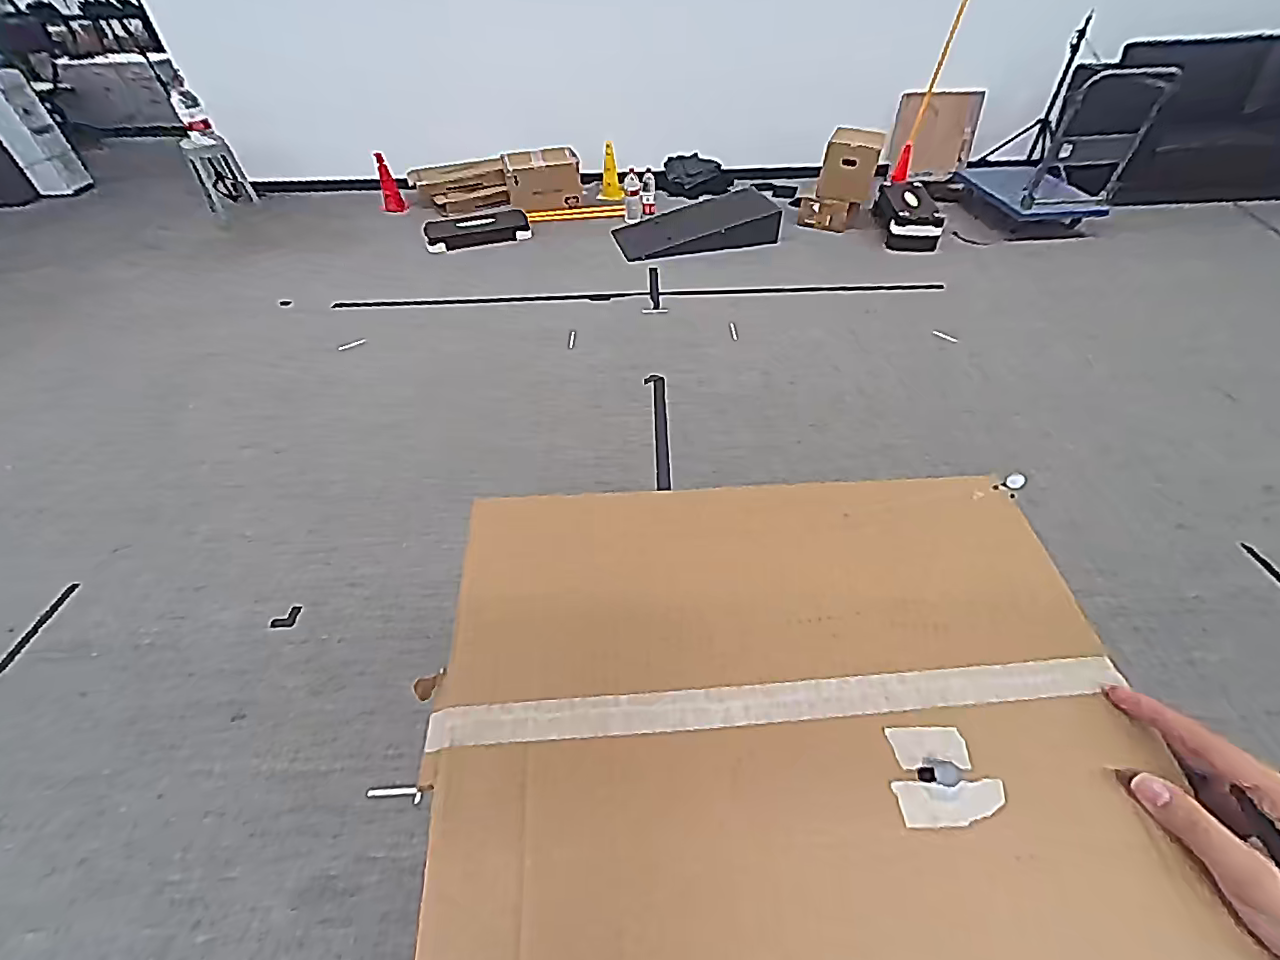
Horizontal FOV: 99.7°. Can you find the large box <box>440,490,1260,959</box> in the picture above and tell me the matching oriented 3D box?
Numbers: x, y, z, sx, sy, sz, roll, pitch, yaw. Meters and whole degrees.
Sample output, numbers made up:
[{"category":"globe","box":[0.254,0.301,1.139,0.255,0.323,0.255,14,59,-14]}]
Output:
[{"category":"large box","box":[0.086,0.230,0.445,0.408,0.320,0.320,-2,54,-5]}]
